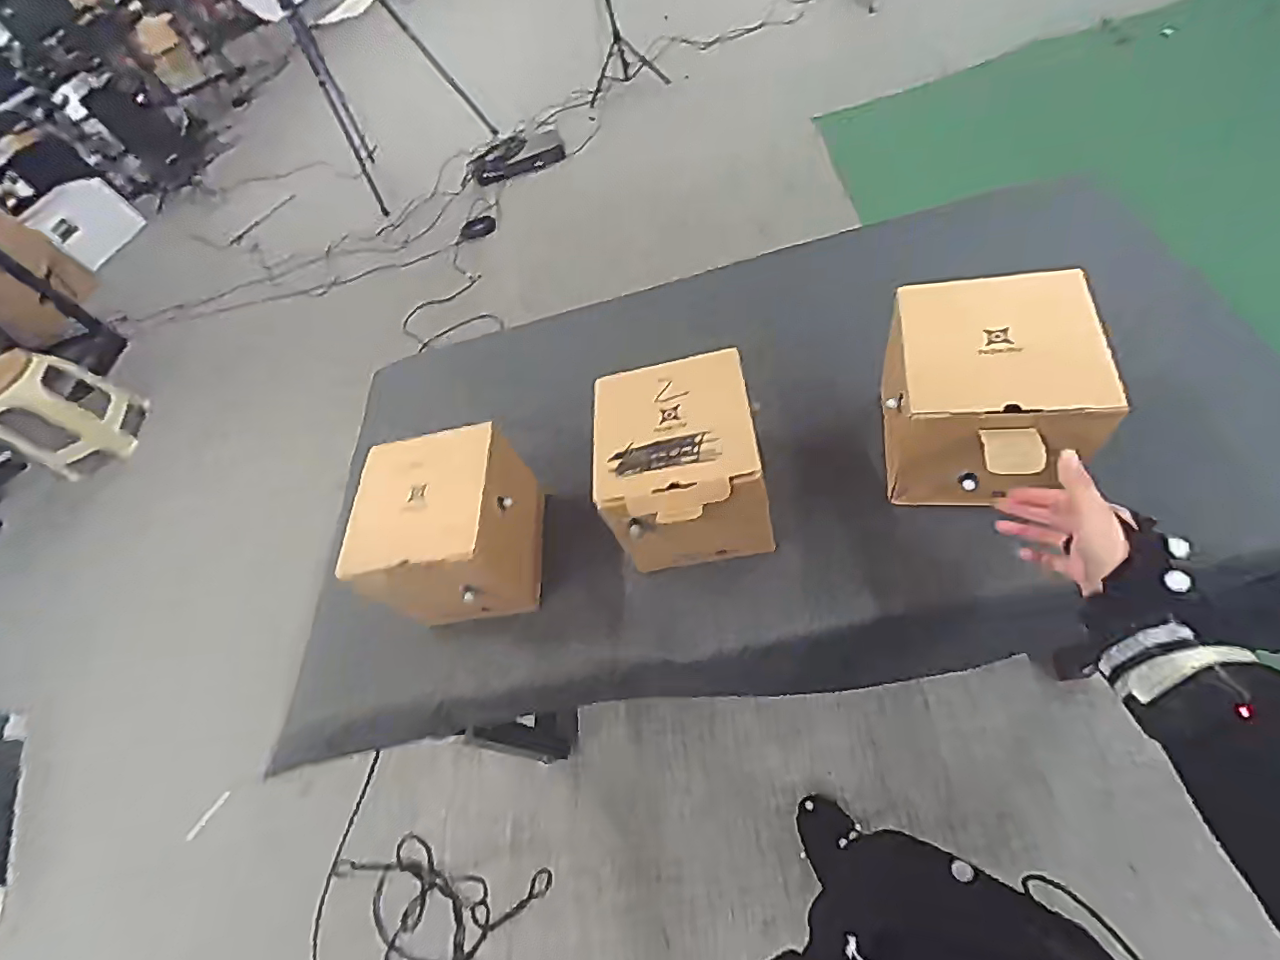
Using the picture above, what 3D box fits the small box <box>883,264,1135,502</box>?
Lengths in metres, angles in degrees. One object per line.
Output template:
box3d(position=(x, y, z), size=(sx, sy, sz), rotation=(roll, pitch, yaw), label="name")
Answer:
box3d(position=(0.357, -0.095, 0.568), size=(0.168, 0.176, 0.179), rotation=(0, 59, 18), label="small box")

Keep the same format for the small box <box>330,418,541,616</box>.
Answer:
box3d(position=(-0.229, 0.056, 0.659), size=(0.168, 0.176, 0.179), rotation=(-10, 55, 9), label="small box")
